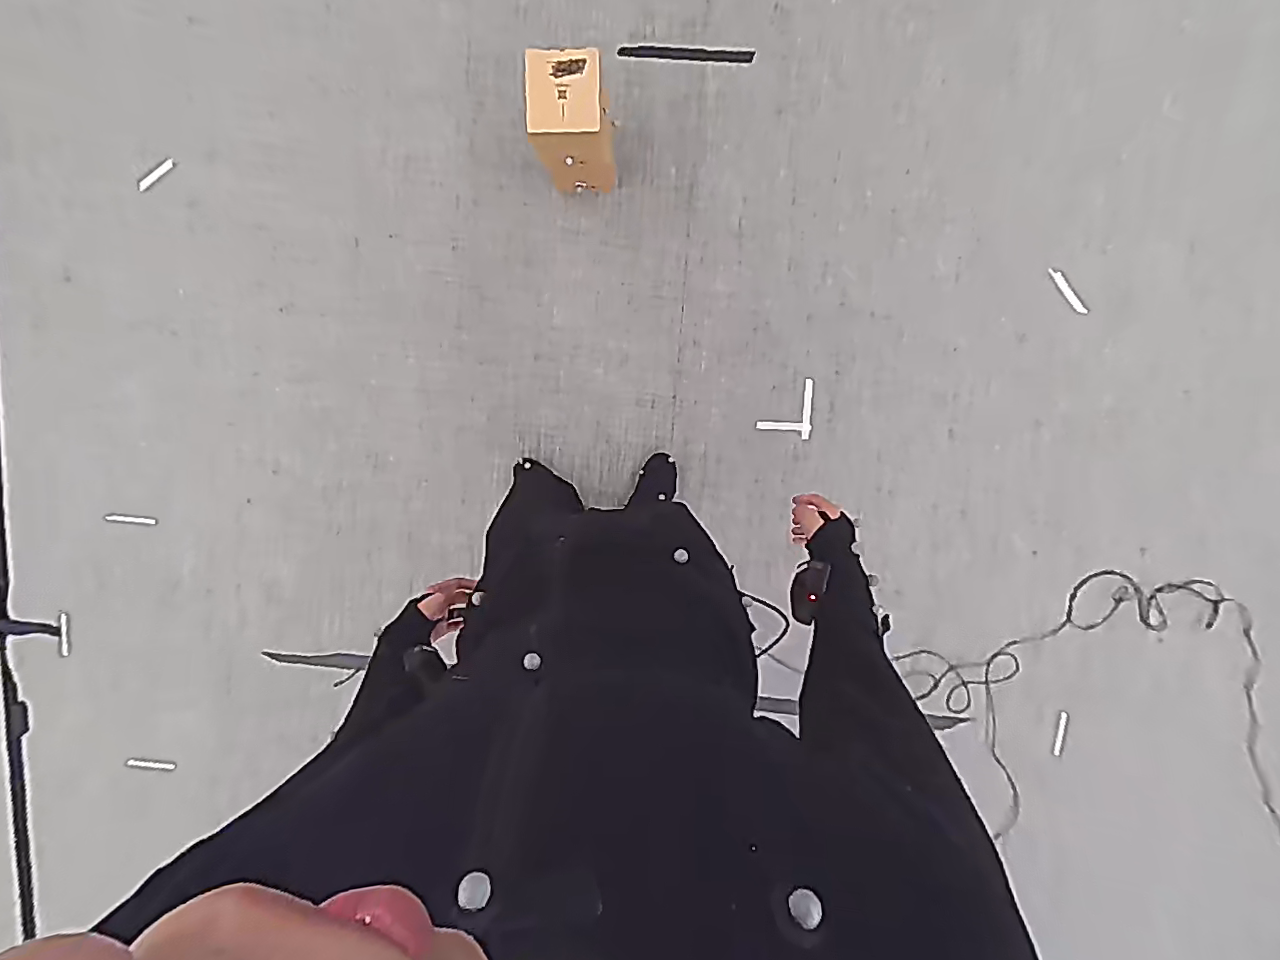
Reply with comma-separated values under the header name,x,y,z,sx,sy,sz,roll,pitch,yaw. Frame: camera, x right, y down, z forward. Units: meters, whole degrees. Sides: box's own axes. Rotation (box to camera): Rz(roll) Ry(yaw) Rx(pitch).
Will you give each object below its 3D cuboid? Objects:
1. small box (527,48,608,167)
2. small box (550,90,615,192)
name,x,y,z,sx,sy,sz,roll,pitch,yaw
small box,-0.166,-0.867,1.269,0.168,0.176,0.179,1,97,2
small box,-0.154,-0.890,1.431,0.168,0.176,0.179,-1,97,2
